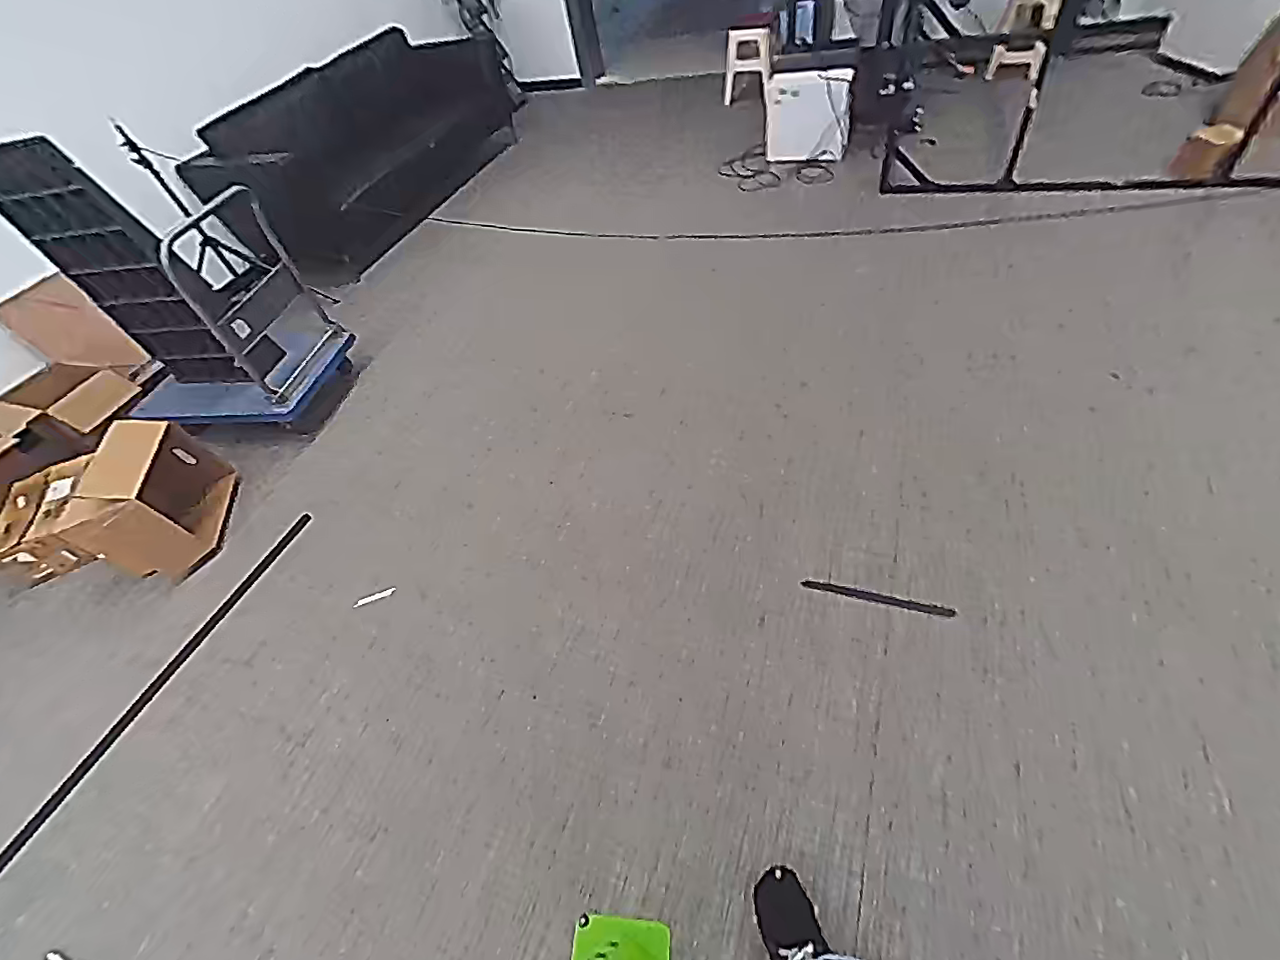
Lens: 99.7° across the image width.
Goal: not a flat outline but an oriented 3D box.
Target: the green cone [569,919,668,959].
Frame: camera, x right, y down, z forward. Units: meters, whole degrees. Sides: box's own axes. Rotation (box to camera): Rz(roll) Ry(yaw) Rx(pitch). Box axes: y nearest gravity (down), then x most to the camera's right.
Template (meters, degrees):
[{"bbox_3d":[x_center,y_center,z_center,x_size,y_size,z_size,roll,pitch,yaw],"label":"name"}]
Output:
[{"bbox_3d":[-0.074,0.883,0.924,0.202,0.368,0.200,-2,50,10],"label":"green cone"}]
